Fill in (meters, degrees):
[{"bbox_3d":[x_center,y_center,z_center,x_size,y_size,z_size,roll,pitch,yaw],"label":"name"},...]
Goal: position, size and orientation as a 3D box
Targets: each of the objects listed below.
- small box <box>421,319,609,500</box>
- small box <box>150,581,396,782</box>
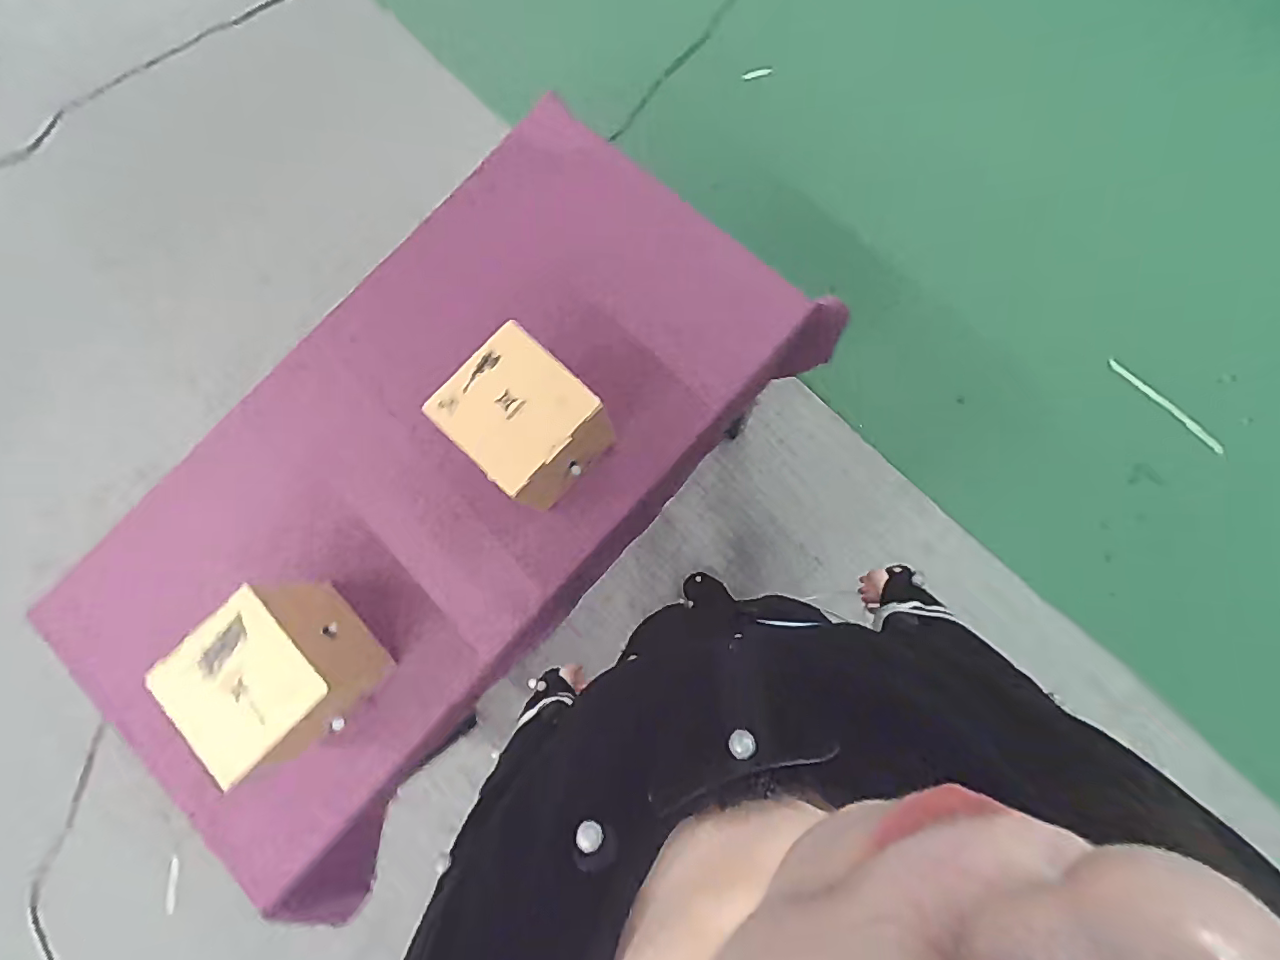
[{"bbox_3d":[-0.161,-0.086,0.766,0.179,0.176,0.168,43,84,8],"label":"small box"},{"bbox_3d":[-0.477,0.255,0.730,0.179,0.176,0.168,44,86,8],"label":"small box"}]
